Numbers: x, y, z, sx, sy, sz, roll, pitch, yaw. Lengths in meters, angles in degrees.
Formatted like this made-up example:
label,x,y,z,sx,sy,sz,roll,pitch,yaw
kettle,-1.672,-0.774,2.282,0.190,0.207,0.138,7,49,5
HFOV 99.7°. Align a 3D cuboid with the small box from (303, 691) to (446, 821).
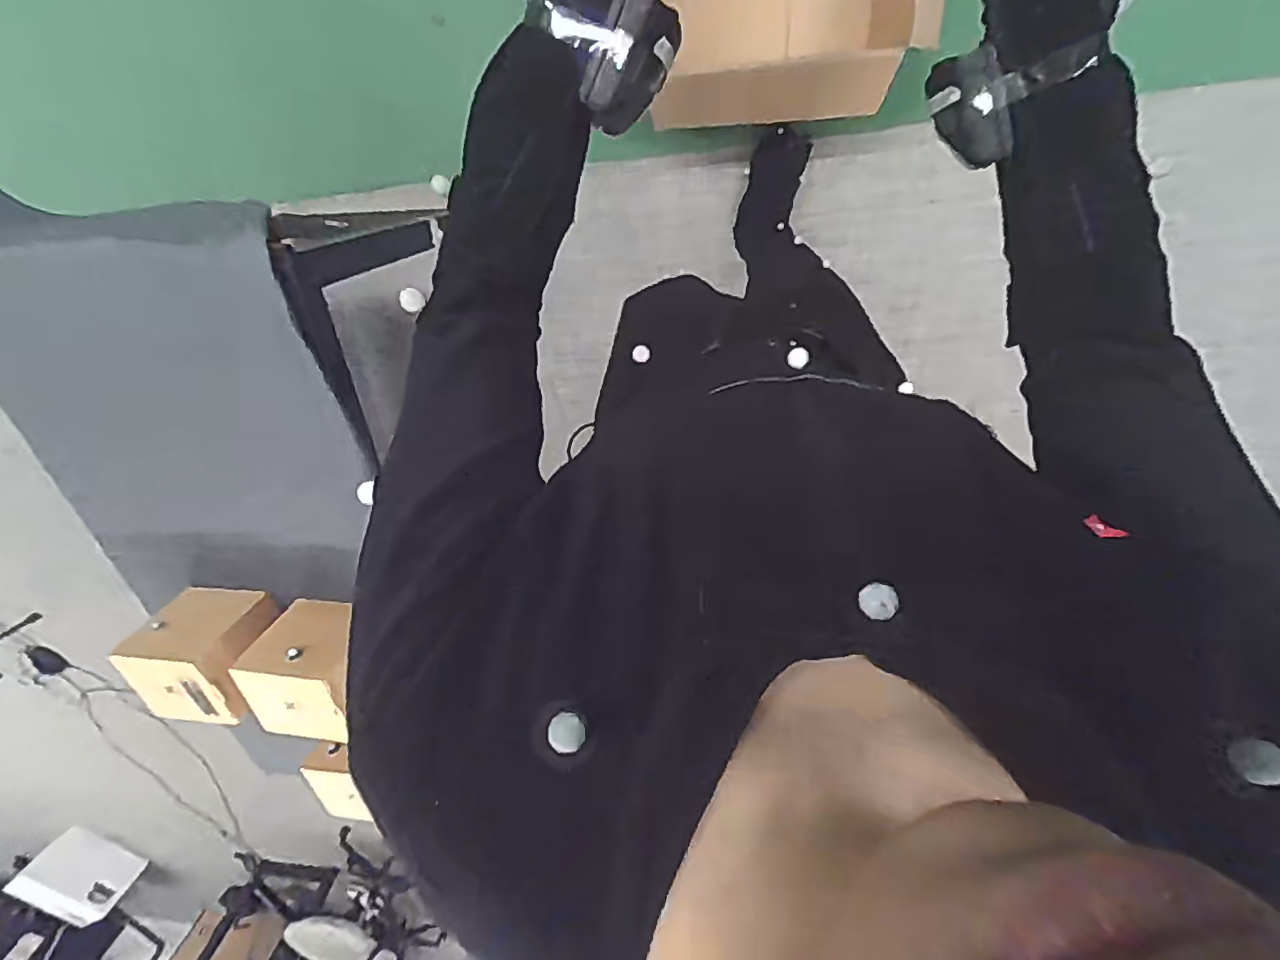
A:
label,x,y,z,sx,sy,sz,roll,pitch,yaw
small box,-0.526,0.552,1.097,0.179,0.176,0.168,1,121,9
